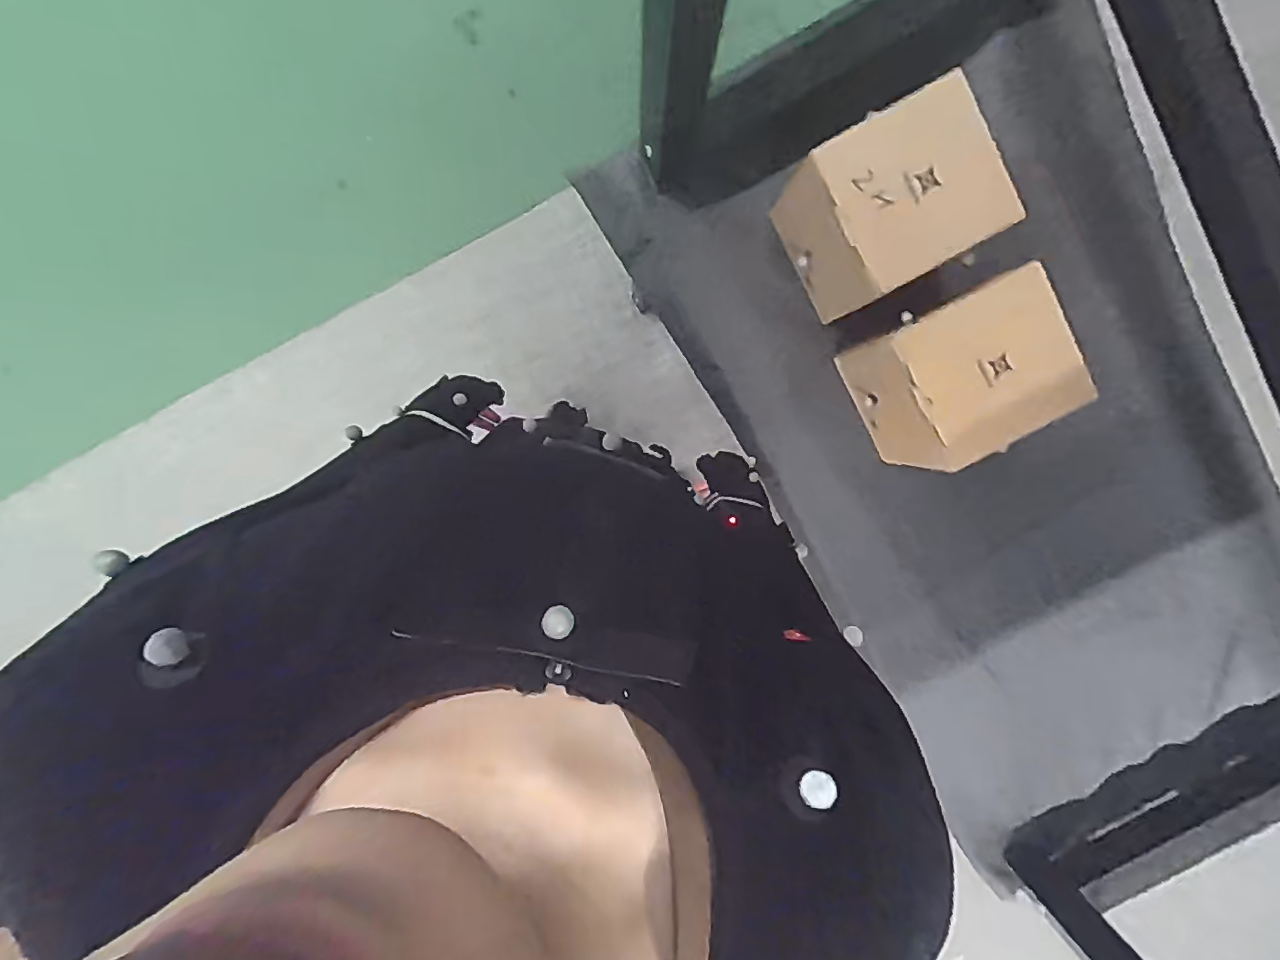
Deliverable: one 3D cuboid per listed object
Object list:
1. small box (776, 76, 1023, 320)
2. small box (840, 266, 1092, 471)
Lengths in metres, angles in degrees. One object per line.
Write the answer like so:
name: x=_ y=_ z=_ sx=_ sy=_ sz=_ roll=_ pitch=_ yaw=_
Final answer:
small box: x=0.289 y=-0.313 z=0.642 sx=0.179 sy=0.176 sz=0.168 roll=-29 pitch=96 yaw=2
small box: x=0.382 y=-0.129 z=0.665 sx=0.179 sy=0.176 sz=0.168 roll=-28 pitch=96 yaw=2
